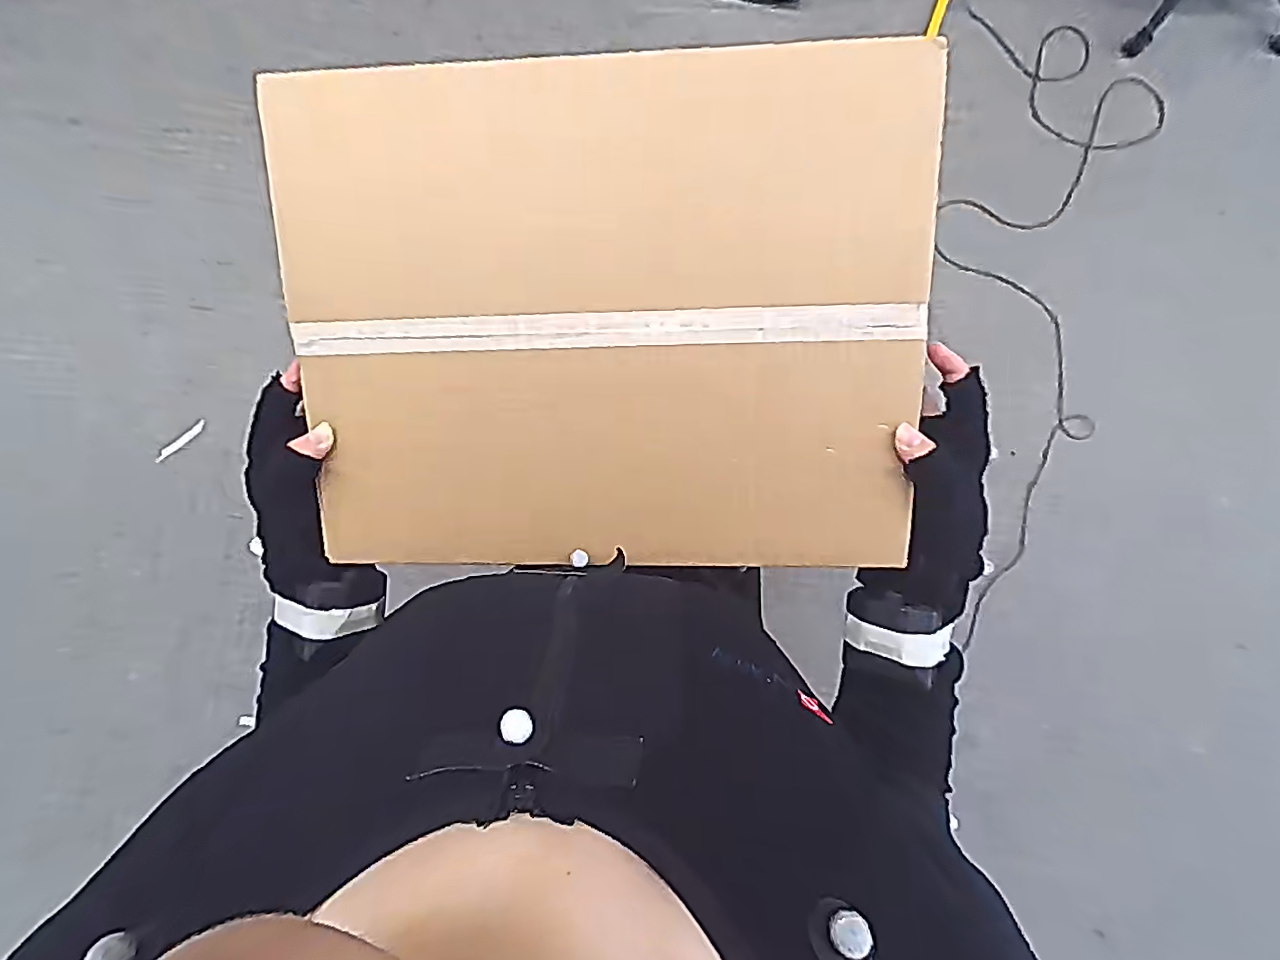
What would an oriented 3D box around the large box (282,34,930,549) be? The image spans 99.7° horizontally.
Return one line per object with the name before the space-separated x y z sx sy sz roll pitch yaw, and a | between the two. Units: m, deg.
large box | -0.017 -0.133 0.500 0.408 0.320 0.320 0 102 4
